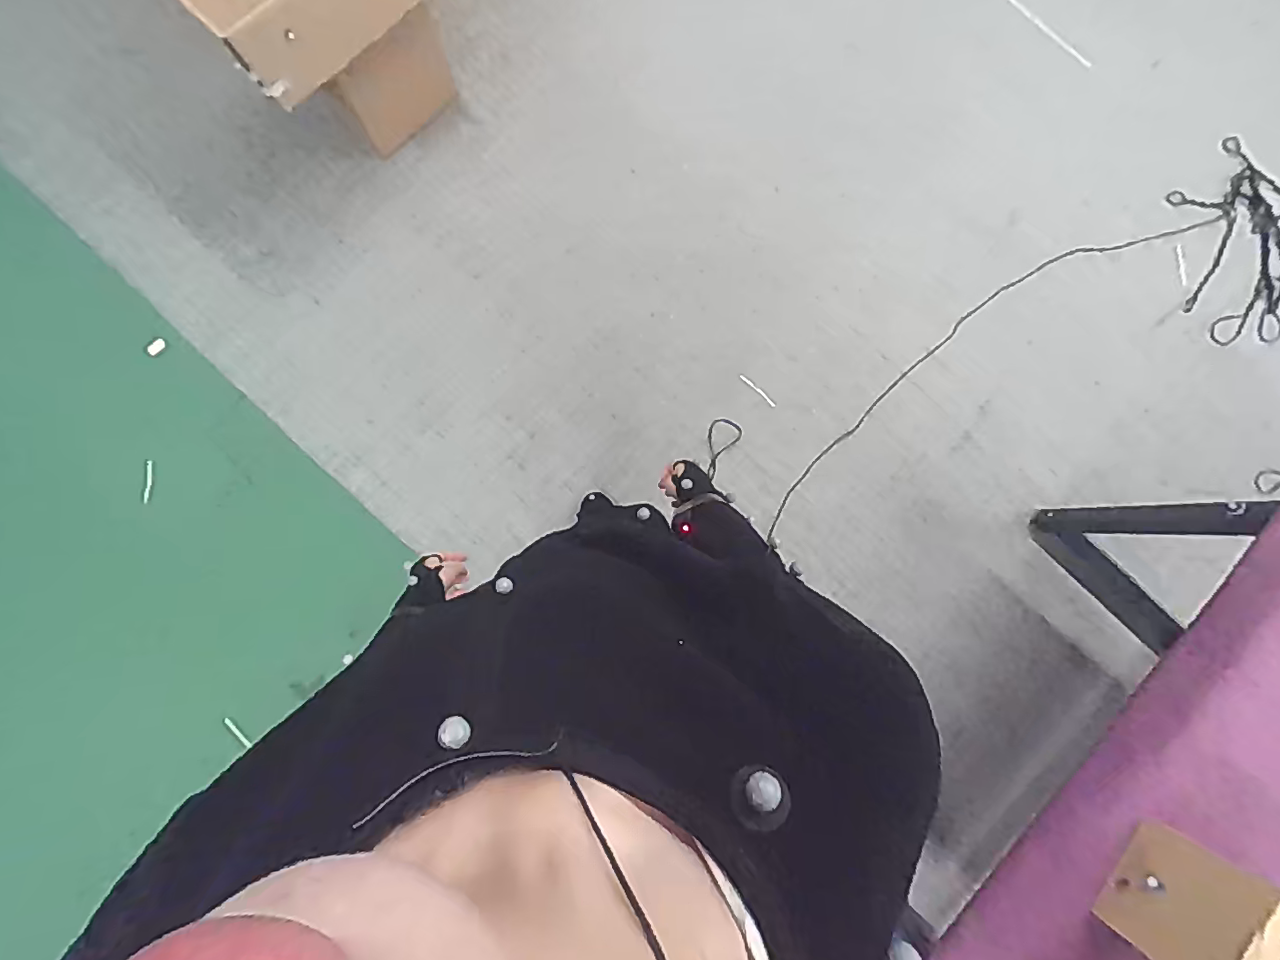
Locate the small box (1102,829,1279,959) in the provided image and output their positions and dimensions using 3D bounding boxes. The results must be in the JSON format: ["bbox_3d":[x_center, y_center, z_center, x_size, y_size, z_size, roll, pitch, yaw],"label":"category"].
[{"bbox_3d":[0.777,0.606,0.703,0.179,0.176,0.168,37,84,0],"label":"small box"}]
